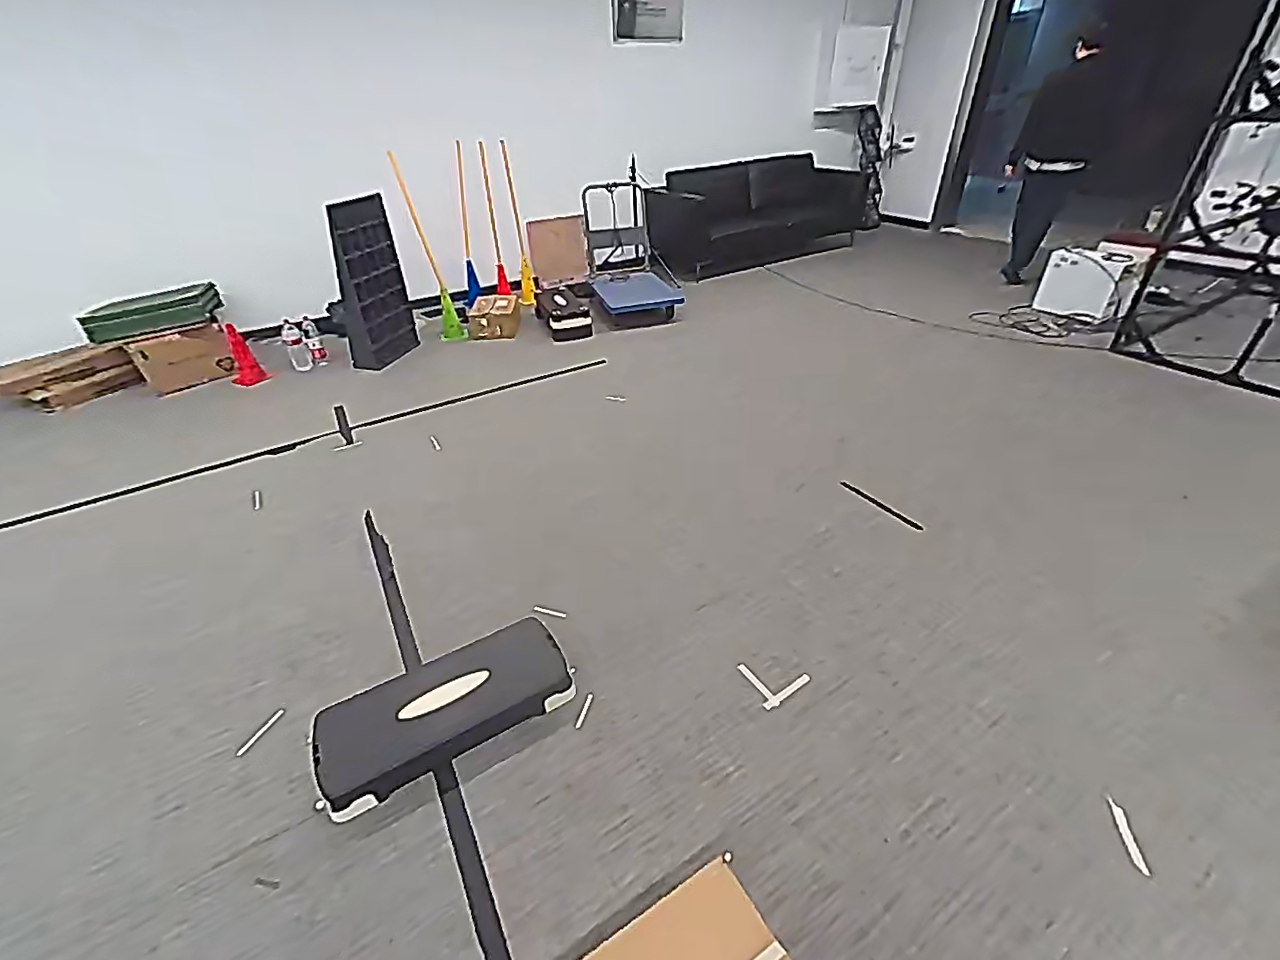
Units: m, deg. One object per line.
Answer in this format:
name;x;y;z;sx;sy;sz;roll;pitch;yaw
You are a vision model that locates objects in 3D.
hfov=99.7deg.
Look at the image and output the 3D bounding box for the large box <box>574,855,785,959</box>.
large box;0.051;0.929;0.863;0.408;0.320;0.320;-20;39;-25
